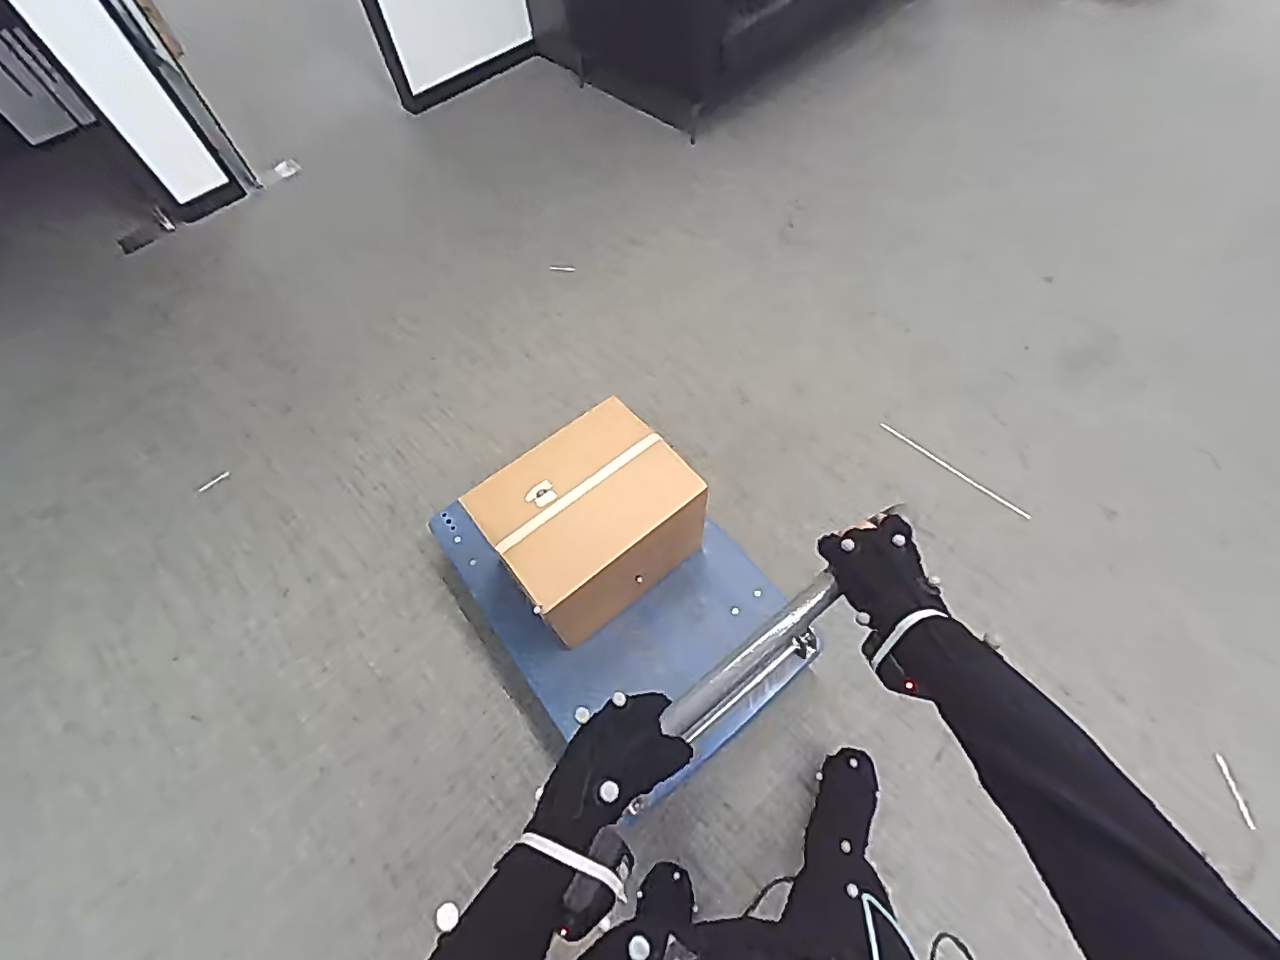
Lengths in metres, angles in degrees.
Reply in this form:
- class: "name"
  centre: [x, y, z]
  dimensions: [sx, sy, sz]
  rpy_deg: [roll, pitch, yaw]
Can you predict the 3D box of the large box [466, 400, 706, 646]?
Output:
- class: "large box"
  centre: [-0.102, 0.104, 1.224]
  dimensions: [0.408, 0.320, 0.320]
  rpy_deg: [-37, 65, -16]
